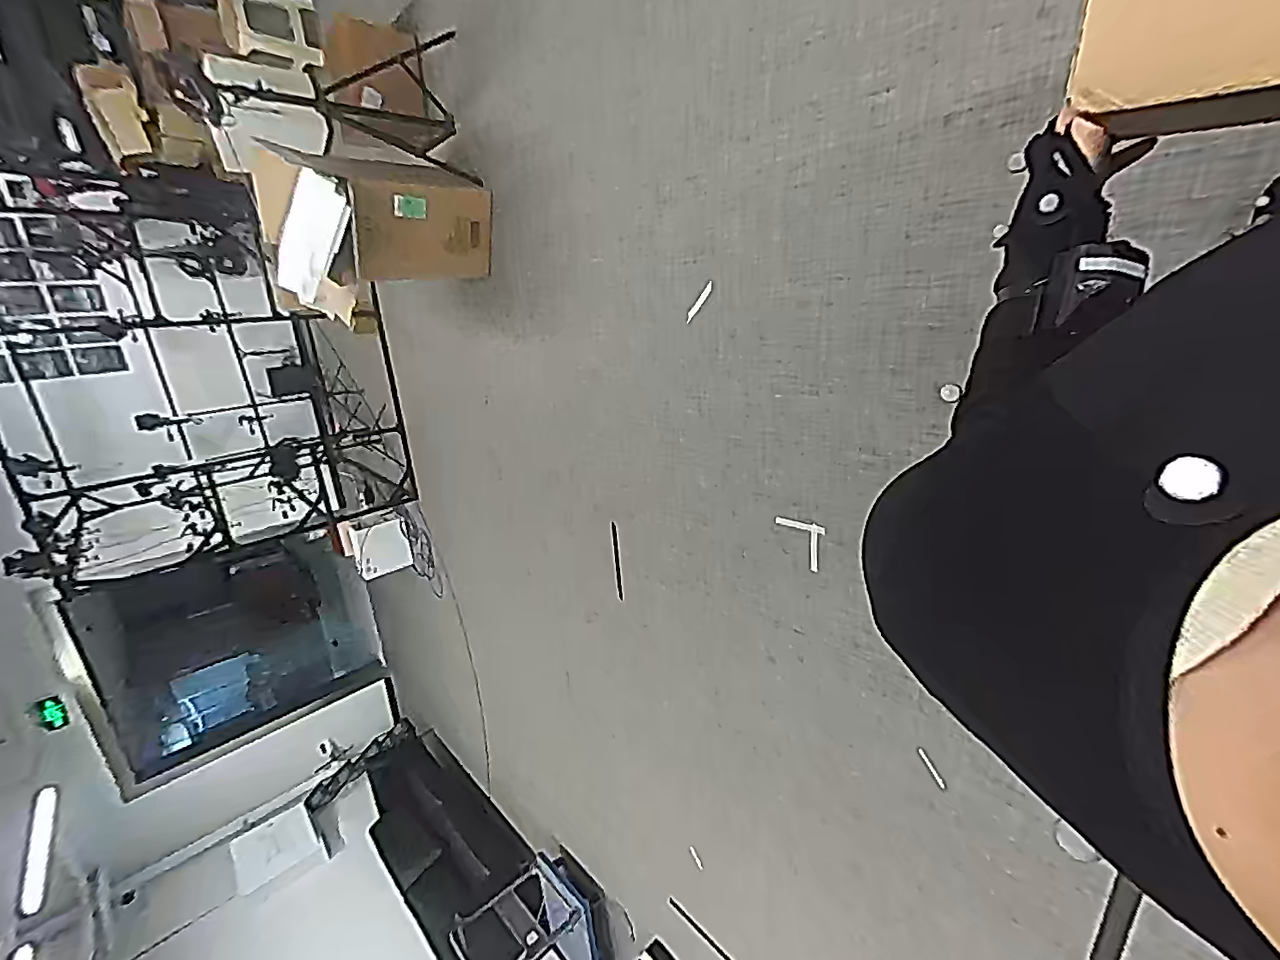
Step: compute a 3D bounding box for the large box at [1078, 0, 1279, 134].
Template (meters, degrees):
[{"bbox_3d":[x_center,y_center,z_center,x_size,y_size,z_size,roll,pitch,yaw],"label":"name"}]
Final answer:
[{"bbox_3d":[0.422,-0.324,0.158,0.408,0.320,0.320,15,123,38],"label":"large box"}]
